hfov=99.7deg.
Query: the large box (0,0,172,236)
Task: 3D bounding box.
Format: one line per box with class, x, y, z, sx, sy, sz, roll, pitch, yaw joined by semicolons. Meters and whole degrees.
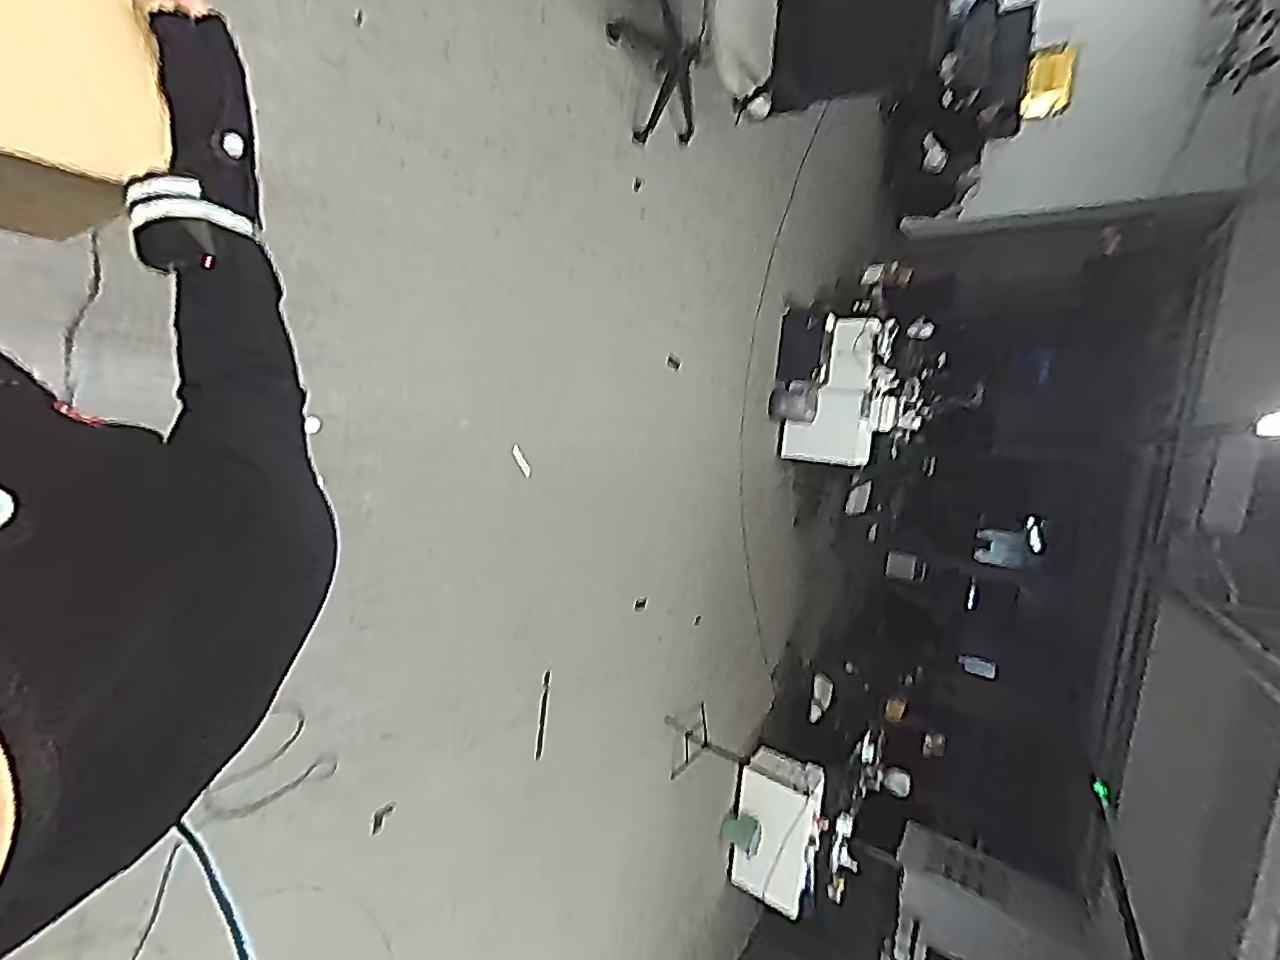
large box;-0.603;-0.380;0.326;0.408;0.320;0.320;-9;104;-58
